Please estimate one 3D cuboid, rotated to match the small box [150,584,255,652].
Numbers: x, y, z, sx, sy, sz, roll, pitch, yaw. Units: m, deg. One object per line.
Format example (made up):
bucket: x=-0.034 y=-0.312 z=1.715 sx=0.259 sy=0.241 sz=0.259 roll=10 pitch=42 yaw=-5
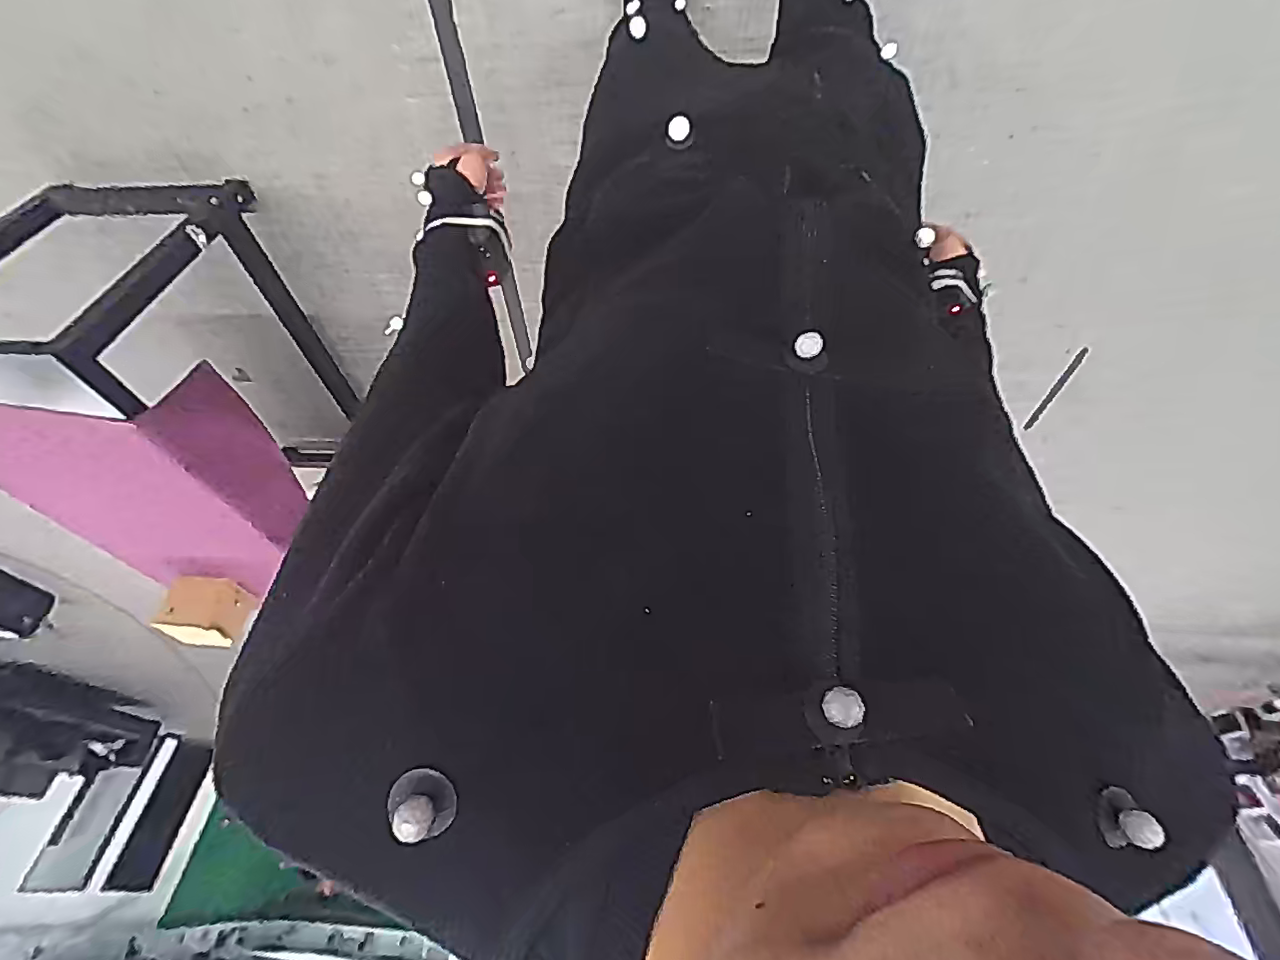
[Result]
small box: x=-1.431 y=0.453 z=1.782 sx=0.179 sy=0.176 sz=0.168 roll=2 pitch=143 yaw=2
